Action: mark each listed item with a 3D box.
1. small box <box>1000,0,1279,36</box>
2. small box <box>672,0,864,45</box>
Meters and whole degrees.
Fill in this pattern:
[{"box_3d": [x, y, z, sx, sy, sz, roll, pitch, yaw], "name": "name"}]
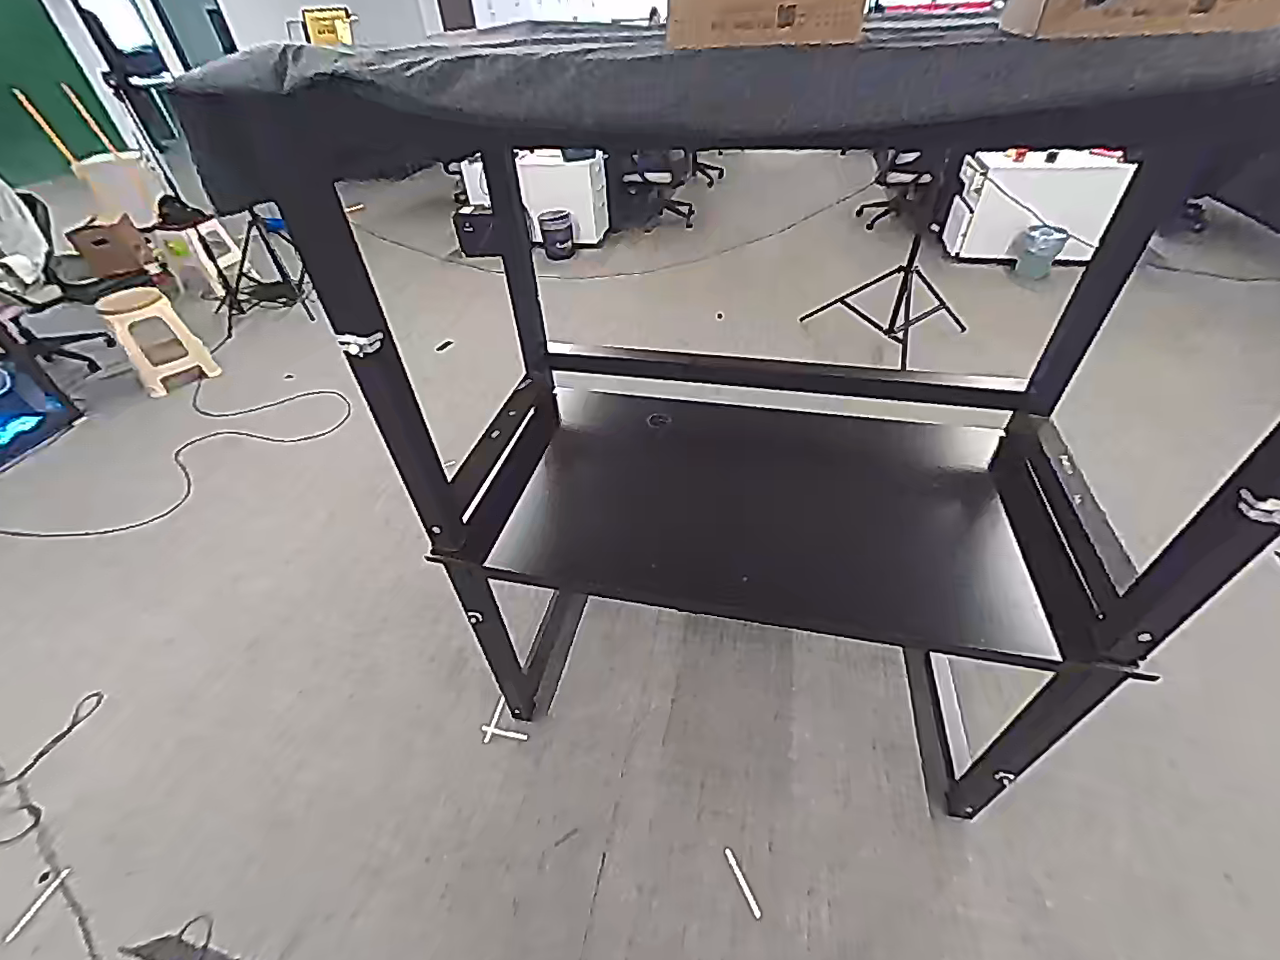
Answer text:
[{"box_3d": [0.413, -0.460, 0.420, 0.168, 0.176, 0.179, 10, 42, 14], "name": "small box"}, {"box_3d": [0.121, -0.494, 0.476, 0.168, 0.176, 0.179, 8, 41, 13], "name": "small box"}]
